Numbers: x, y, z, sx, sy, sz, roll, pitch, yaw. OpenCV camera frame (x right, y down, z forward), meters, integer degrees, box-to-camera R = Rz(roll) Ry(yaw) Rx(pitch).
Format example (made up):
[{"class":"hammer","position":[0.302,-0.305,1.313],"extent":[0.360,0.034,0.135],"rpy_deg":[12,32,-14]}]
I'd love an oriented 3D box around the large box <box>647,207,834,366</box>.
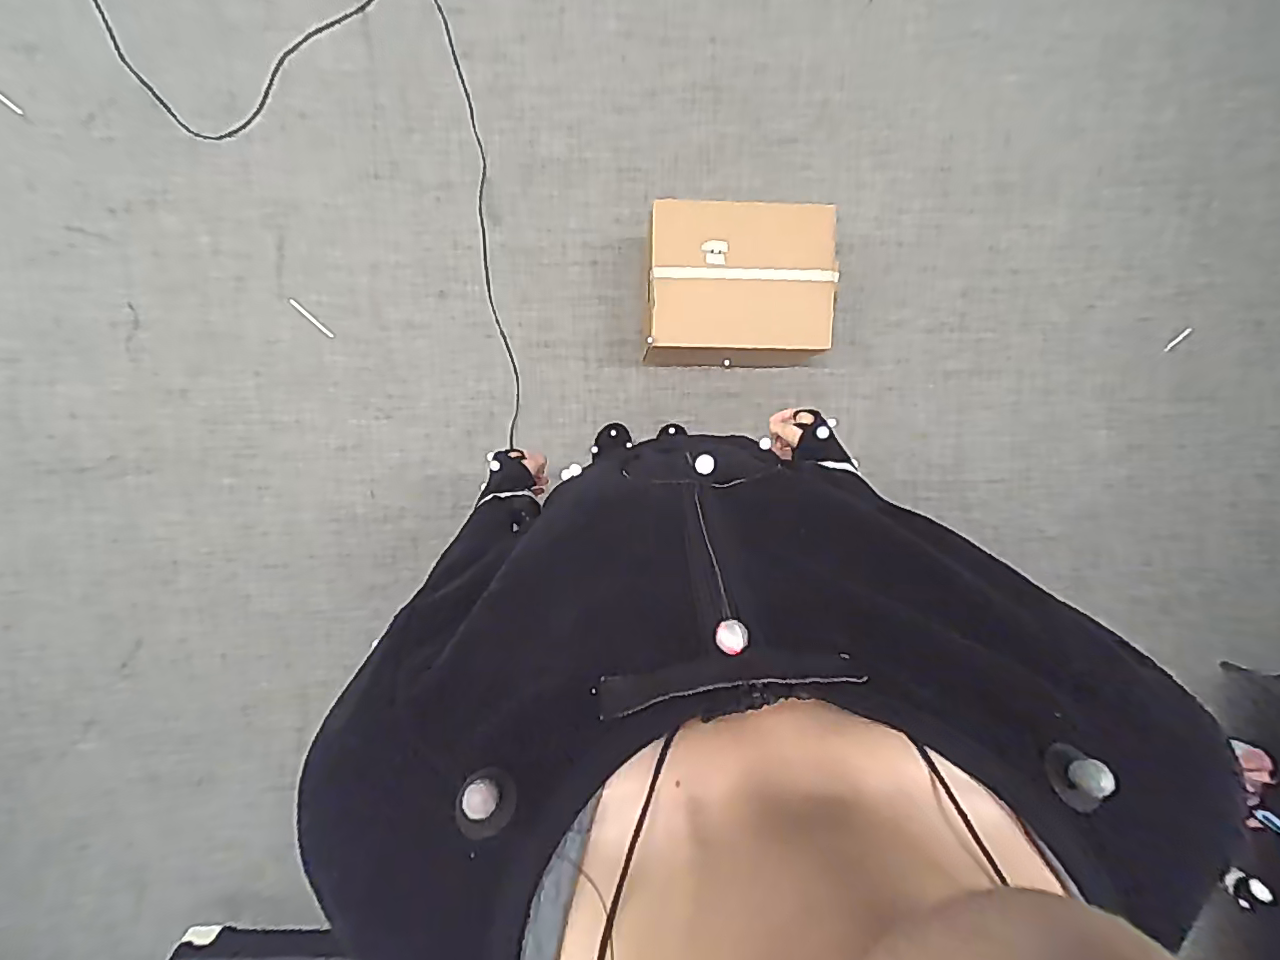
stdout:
[{"class":"large box","position":[0.225,-0.453,1.334],"extent":[0.408,0.320,0.320],"rpy_deg":[1,94,-2]}]
